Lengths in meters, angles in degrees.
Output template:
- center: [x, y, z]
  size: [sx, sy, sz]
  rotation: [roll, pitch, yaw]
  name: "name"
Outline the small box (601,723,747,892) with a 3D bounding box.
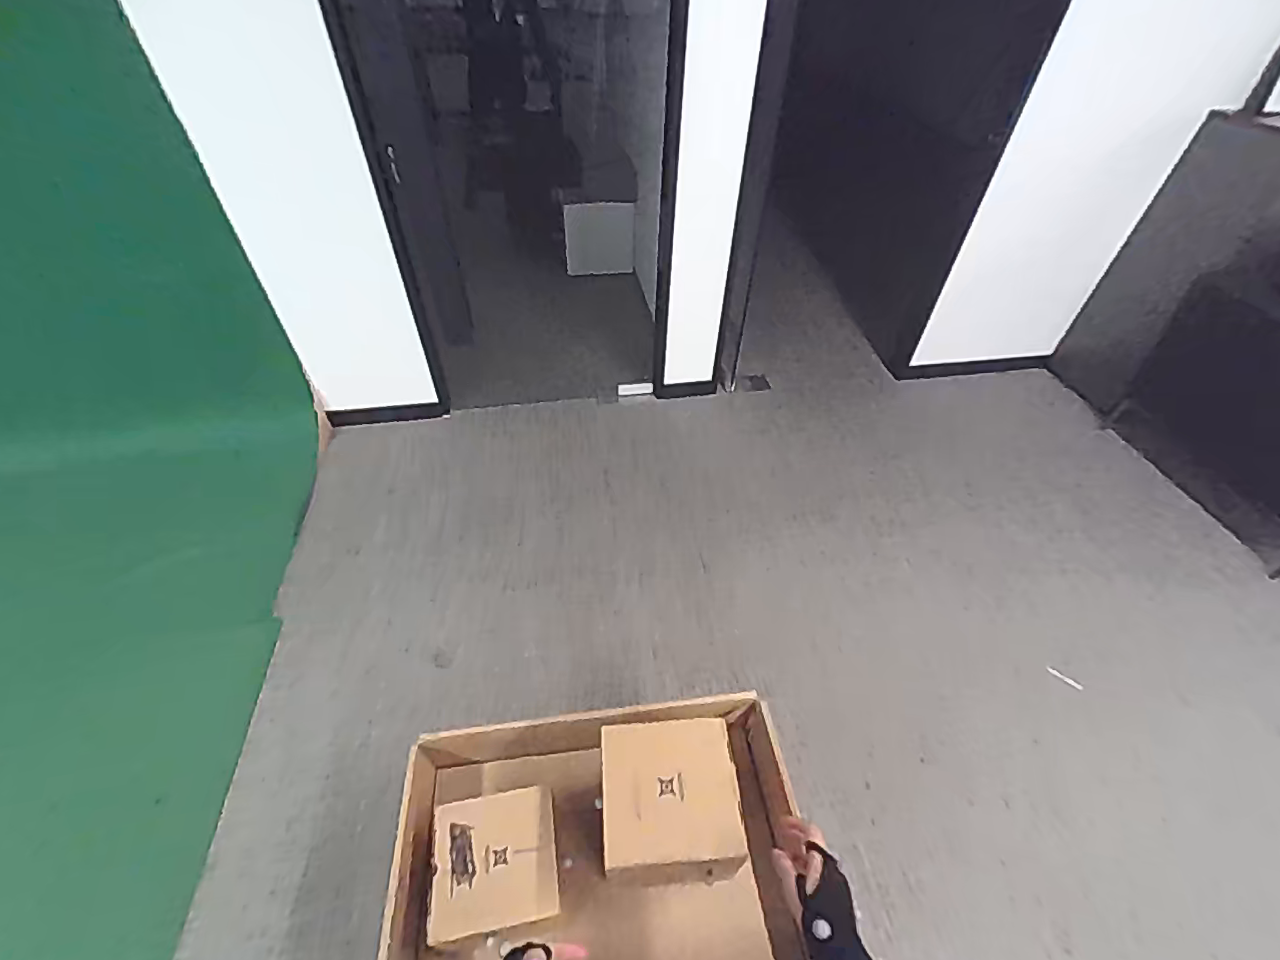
- center: [0.037, 0.454, 0.749]
  size: [0.179, 0.176, 0.168]
  rotation: [-3, 46, -2]
  name: "small box"
